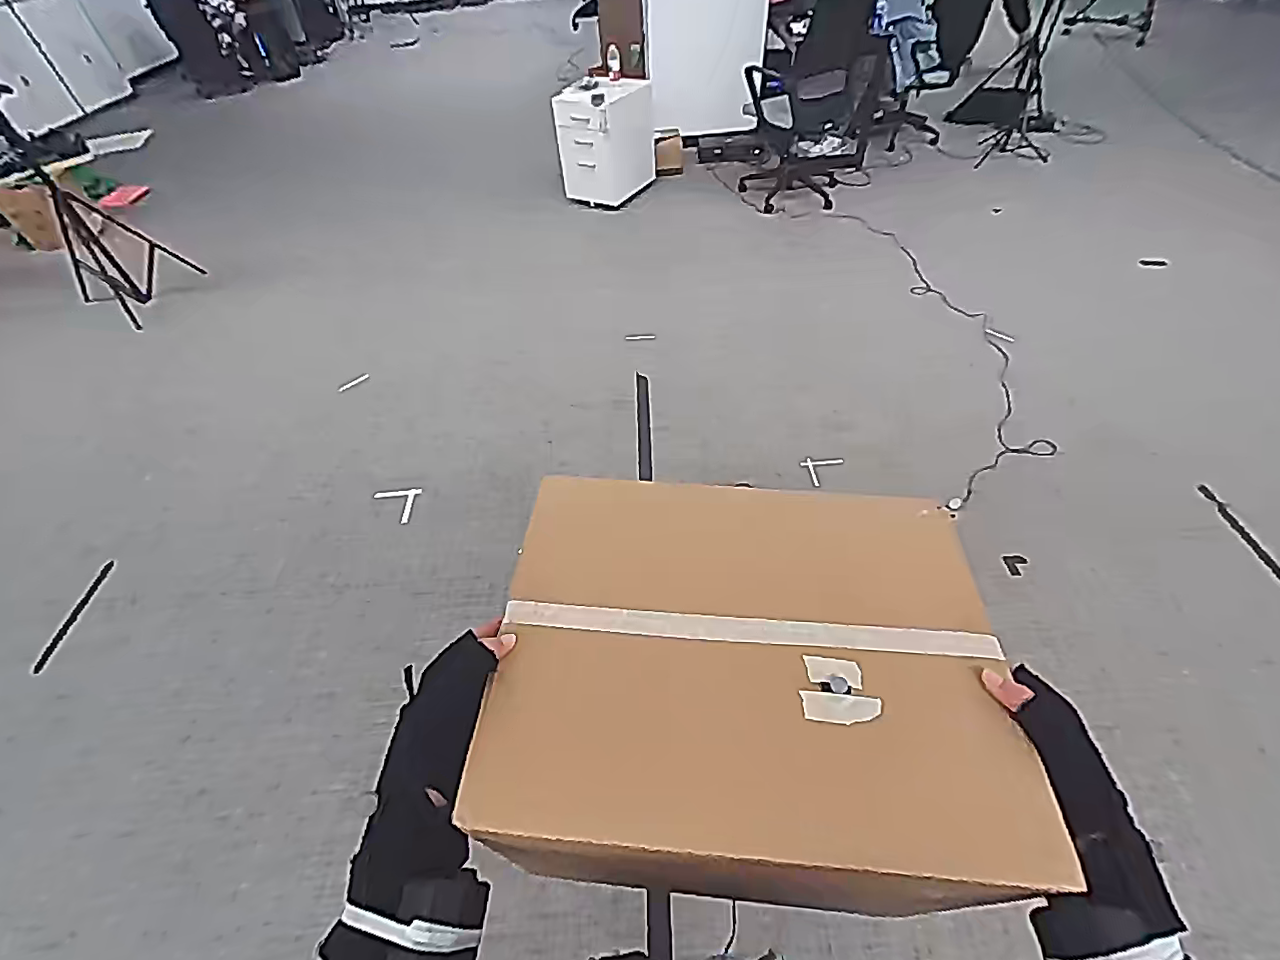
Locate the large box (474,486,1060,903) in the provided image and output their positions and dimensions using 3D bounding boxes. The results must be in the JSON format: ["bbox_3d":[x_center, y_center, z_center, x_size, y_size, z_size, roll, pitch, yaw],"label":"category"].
[{"bbox_3d":[0.090,0.228,0.571,0.408,0.320,0.320,4,50,3],"label":"large box"}]
